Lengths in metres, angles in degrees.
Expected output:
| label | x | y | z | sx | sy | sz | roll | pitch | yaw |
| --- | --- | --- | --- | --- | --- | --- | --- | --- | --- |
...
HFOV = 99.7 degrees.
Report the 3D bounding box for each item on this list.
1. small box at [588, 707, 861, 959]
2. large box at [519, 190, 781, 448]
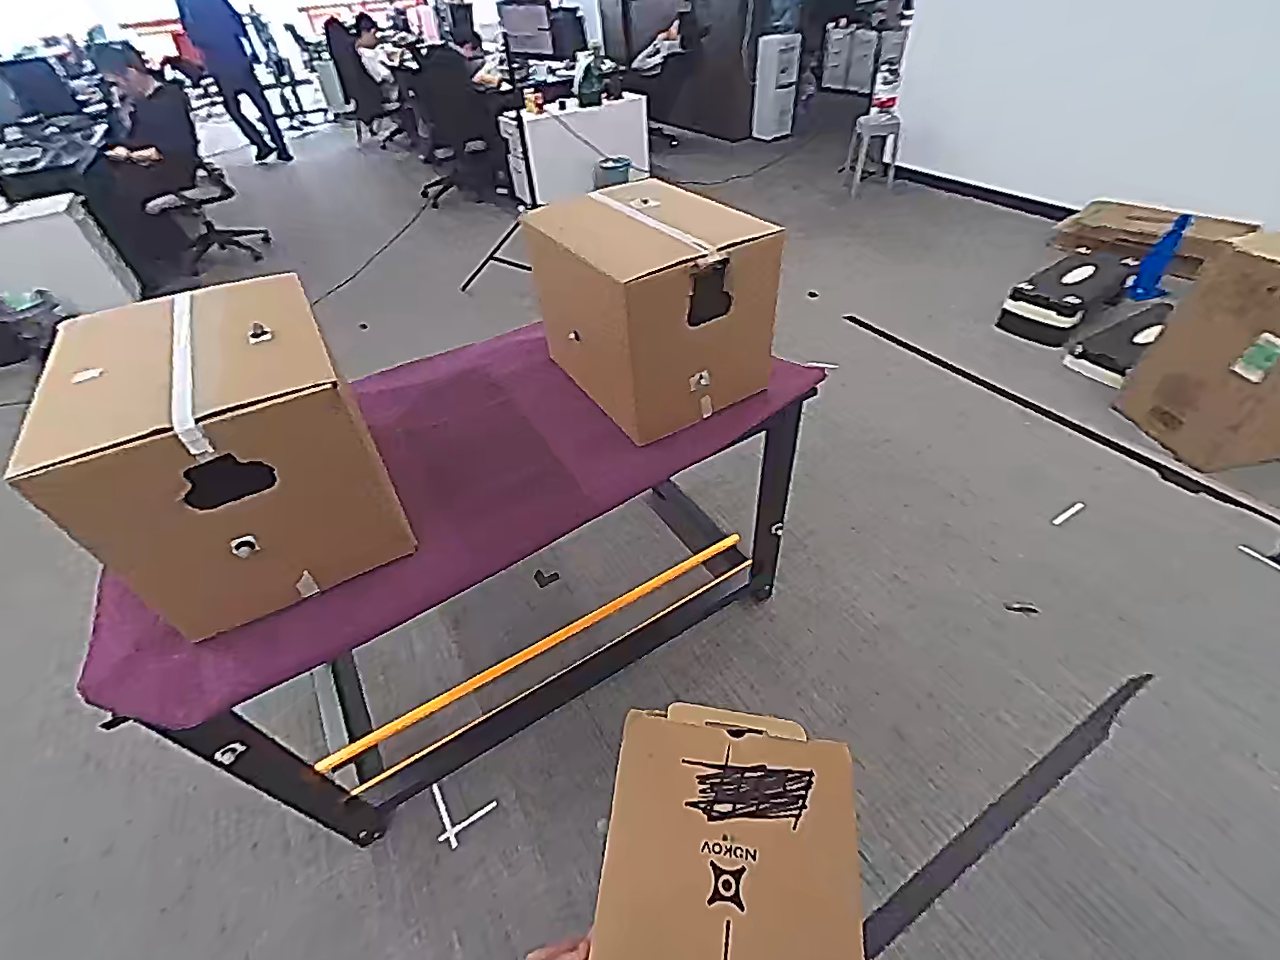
| label | x | y | z | sx | sy | sz | roll | pitch | yaw |
| --- | --- | --- | --- | --- | --- | --- | --- | --- | --- |
| small box | 0.061 | 0.298 | 0.419 | 0.168 | 0.176 | 0.179 | 6 | 55 | 7 |
| large box | 0.015 | -0.328 | 1.055 | 0.320 | 0.320 | 0.408 | -26 | 46 | -20 |
